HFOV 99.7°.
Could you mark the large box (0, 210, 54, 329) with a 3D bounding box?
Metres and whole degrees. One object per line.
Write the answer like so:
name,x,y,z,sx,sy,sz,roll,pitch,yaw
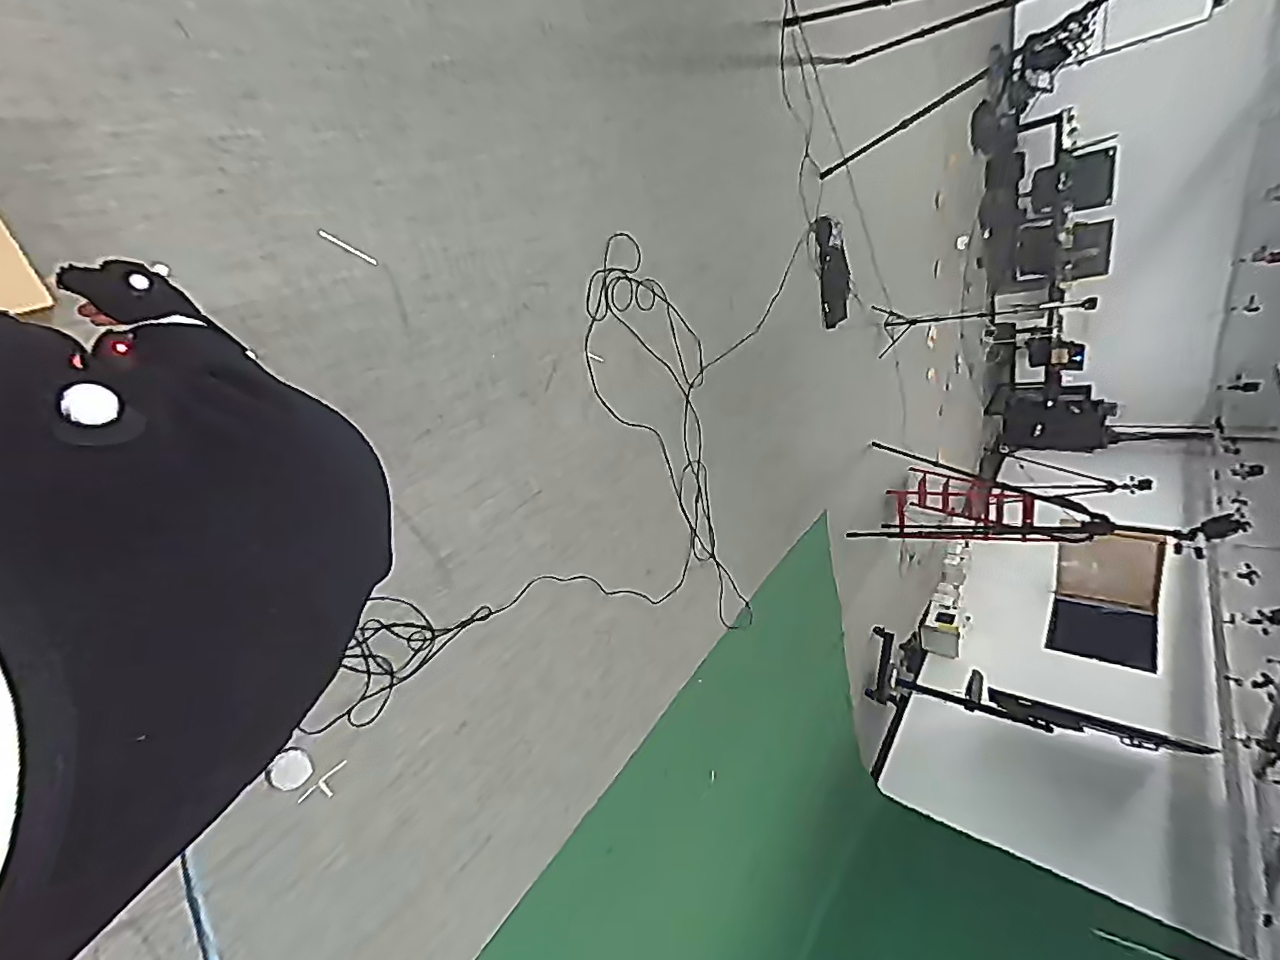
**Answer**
large box,-1.156,-0.331,0.733,0.408,0.320,0.320,-37,122,-39
